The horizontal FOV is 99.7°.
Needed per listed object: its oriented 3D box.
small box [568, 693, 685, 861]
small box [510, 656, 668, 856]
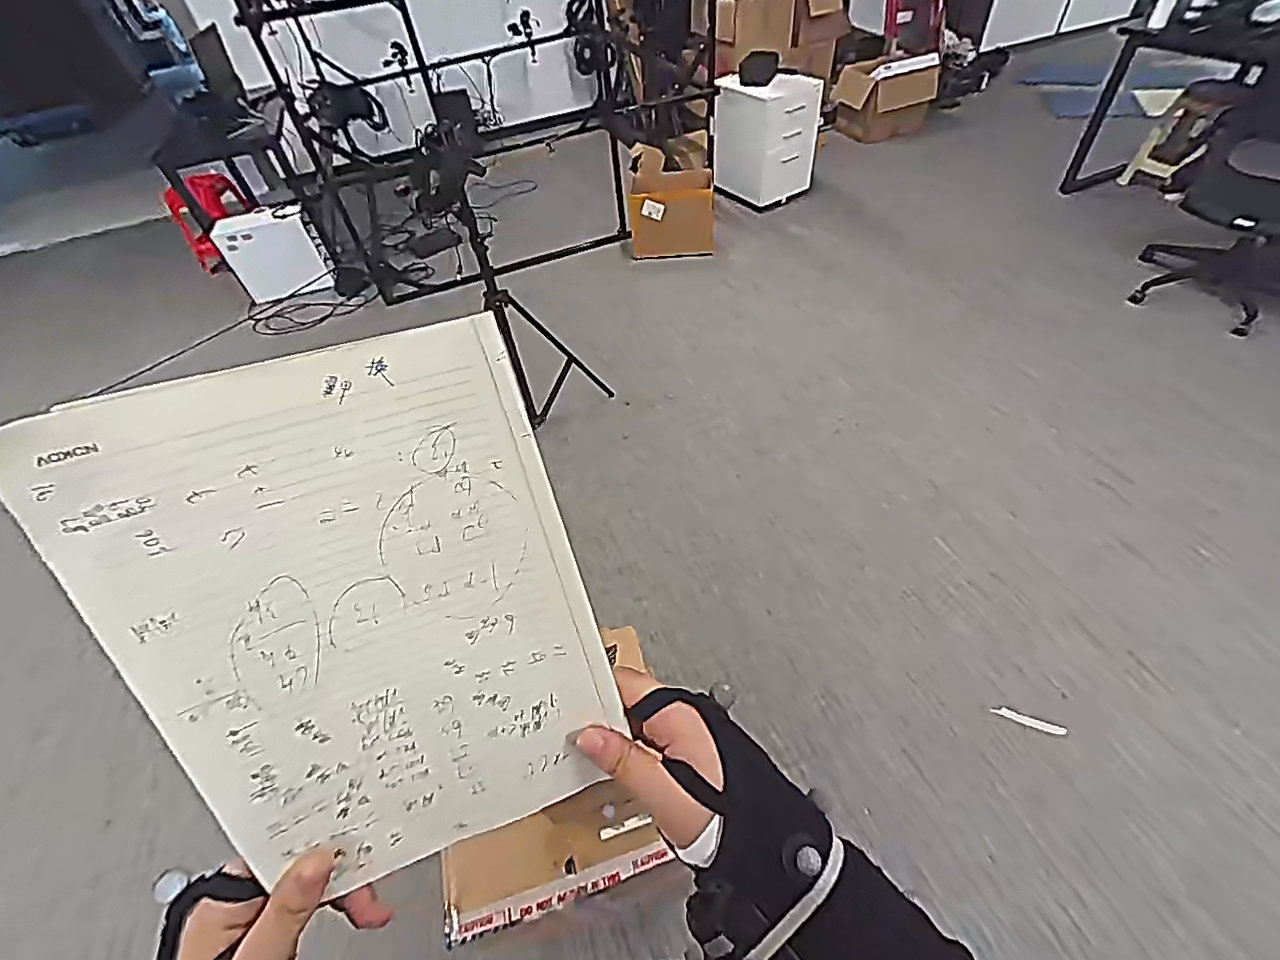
[{"bbox_3d":[-0.040,0.464,0.842,0.179,0.176,0.168,-17,50,-10],"label":"small box"},{"bbox_3d":[-0.066,0.364,0.713,0.168,0.176,0.179,-13,51,-8],"label":"small box"}]
